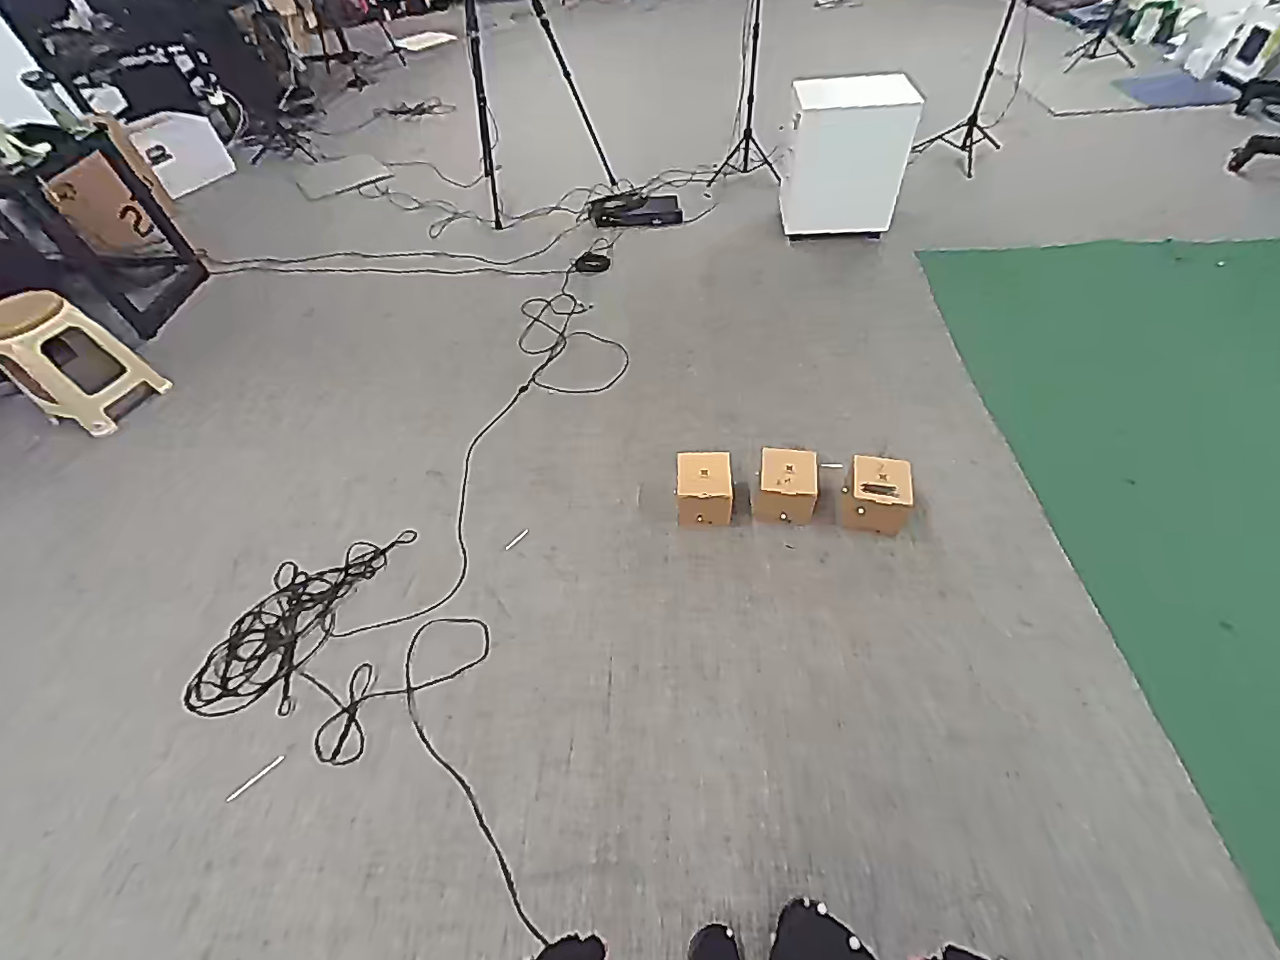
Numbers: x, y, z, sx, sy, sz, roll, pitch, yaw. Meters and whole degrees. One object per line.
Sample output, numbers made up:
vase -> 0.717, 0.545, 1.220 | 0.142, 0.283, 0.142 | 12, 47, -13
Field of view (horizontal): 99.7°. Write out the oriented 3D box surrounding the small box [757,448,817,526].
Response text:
small box -> 0.464, 0.022, 1.717 | 0.168, 0.176, 0.179 | 6, 52, 10

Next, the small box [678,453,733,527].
small box -> 0.208, 0.031, 1.734 | 0.168, 0.176, 0.179 | 0, 52, 5
